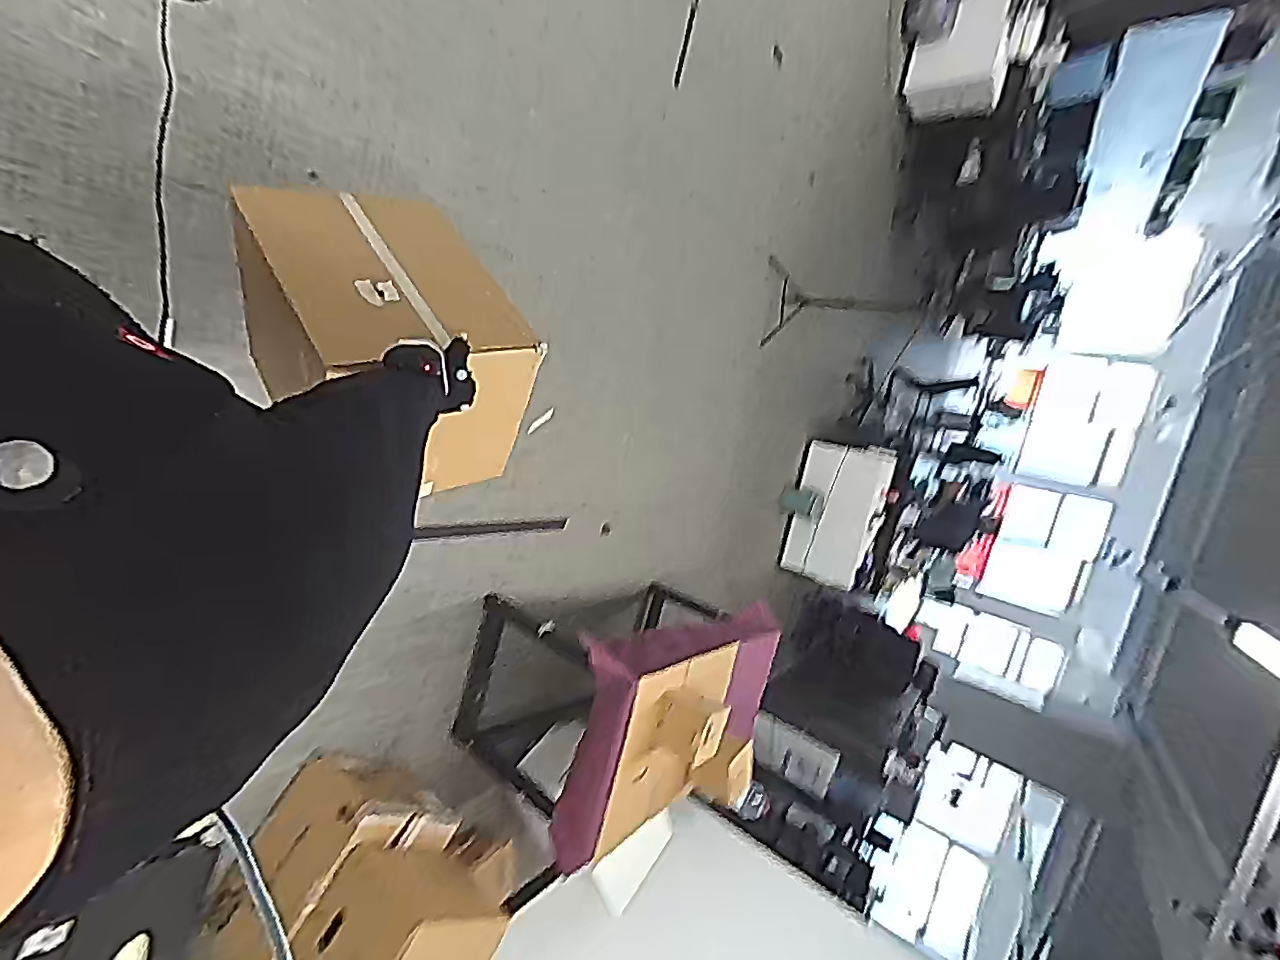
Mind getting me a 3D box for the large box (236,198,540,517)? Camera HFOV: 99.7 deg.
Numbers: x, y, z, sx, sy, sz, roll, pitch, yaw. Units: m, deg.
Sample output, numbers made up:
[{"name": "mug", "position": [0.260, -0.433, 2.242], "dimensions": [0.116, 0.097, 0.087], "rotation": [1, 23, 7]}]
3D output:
[{"name": "large box", "position": [-0.440, -0.210, 0.927], "dimensions": [0.320, 0.408, 0.320], "rotation": [-18, 152, -41]}]
